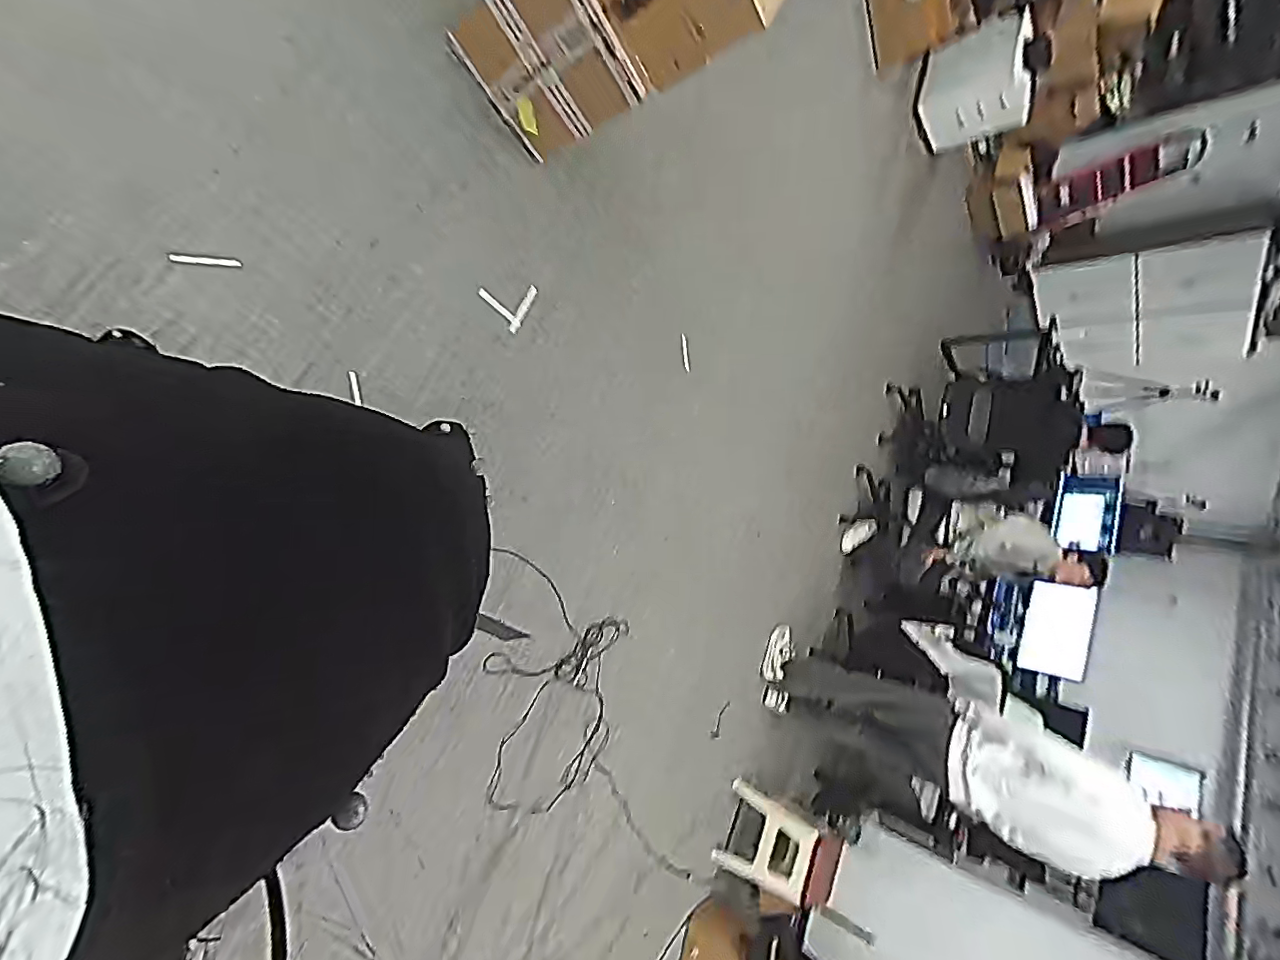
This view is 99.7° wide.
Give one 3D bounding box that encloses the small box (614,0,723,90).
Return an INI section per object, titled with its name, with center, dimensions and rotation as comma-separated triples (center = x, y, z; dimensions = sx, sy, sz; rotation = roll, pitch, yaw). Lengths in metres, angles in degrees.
[small box]
center = 0.070, -1.115, 1.342
dimensions = 0.179, 0.176, 0.168
rotation = 39, 69, -40
